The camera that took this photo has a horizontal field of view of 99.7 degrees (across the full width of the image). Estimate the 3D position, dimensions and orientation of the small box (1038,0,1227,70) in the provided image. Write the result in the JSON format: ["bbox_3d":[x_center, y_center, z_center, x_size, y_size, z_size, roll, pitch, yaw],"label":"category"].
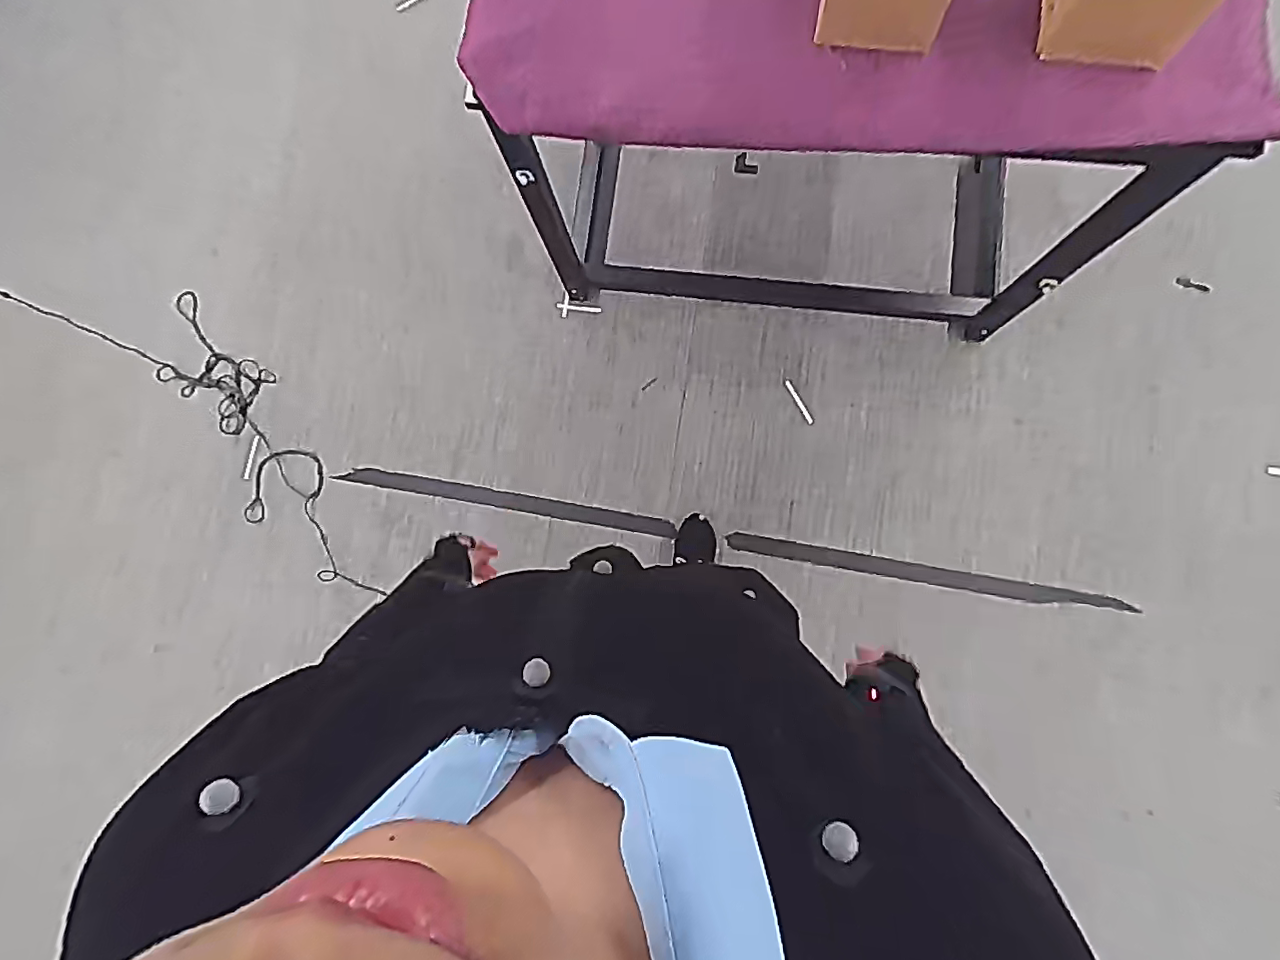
[{"bbox_3d":[0.701,-0.711,0.746,0.179,0.176,0.168,11,82,7],"label":"small box"}]

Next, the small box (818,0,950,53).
[{"bbox_3d":[0.371,-0.765,0.781,0.179,0.176,0.168,11,83,6],"label":"small box"}]
